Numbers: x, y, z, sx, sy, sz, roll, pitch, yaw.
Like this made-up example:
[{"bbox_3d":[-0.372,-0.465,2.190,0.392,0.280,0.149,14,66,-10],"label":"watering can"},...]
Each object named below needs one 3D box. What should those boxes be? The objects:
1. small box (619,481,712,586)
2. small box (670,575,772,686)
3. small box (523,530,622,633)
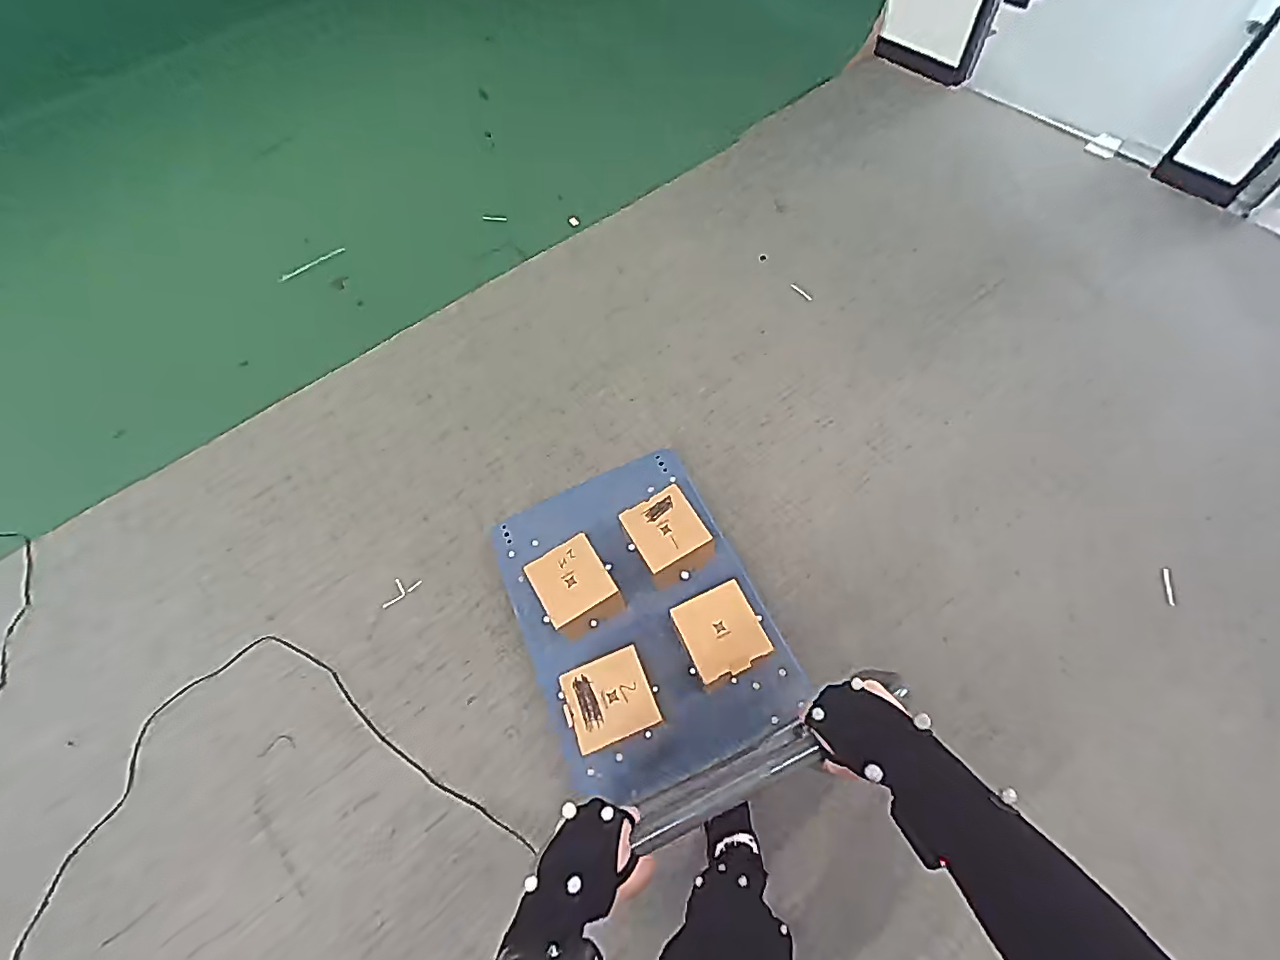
[{"bbox_3d":[0.064,0.139,1.363,0.168,0.176,0.179,-29,64,-9],"label":"small box"},{"bbox_3d":[0.178,0.351,1.243,0.168,0.176,0.179,-24,63,-7],"label":"small box"},{"bbox_3d":[-0.157,0.257,1.323,0.168,0.176,0.179,-30,64,-11],"label":"small box"}]
